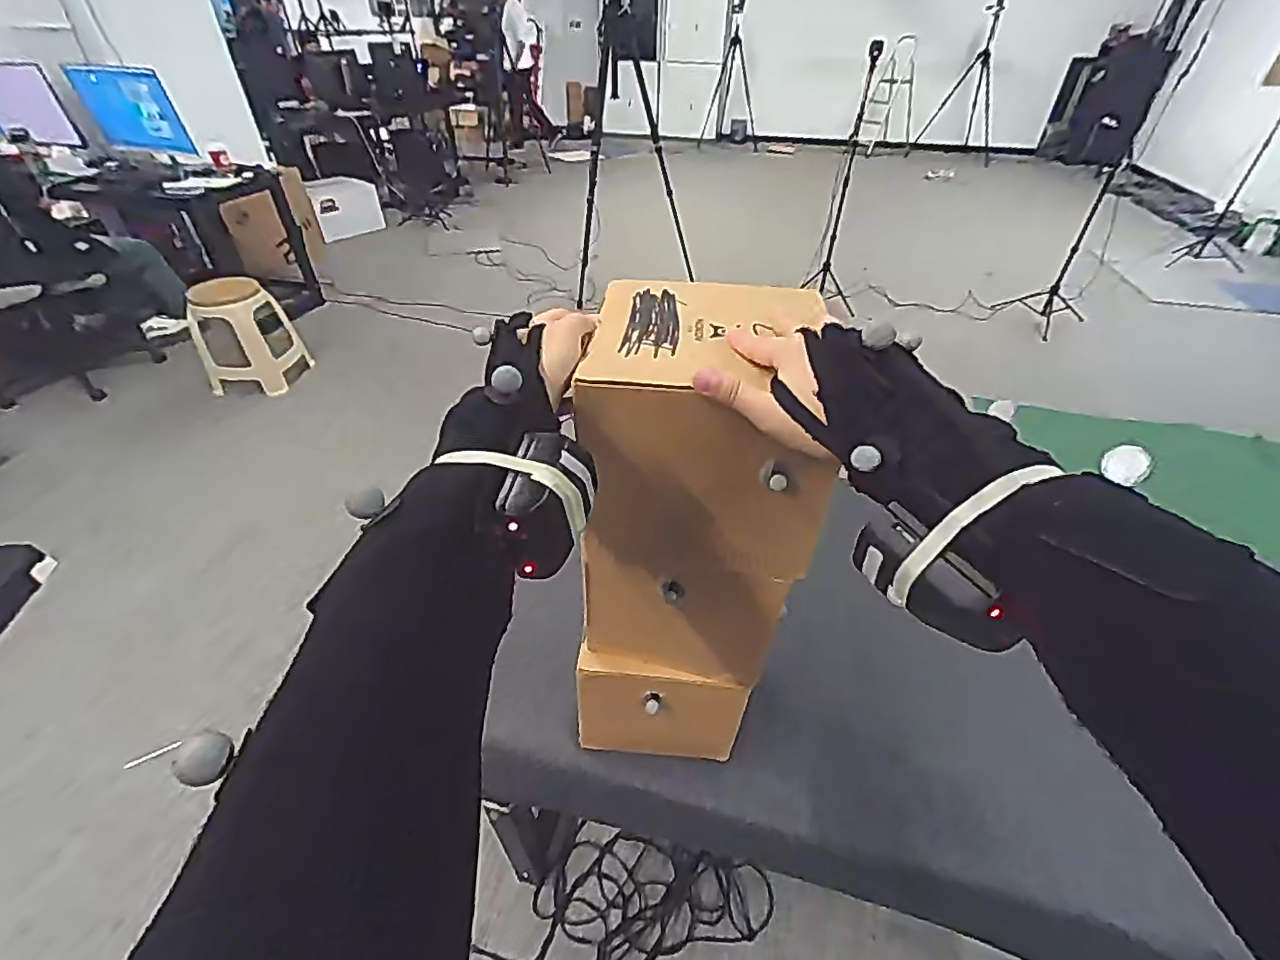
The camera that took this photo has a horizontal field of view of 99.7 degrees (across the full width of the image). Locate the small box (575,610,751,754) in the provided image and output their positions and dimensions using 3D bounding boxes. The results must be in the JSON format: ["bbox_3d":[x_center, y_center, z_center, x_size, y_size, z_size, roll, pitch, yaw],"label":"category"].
[{"bbox_3d":[0.026,0.203,0.639,0.179,0.176,0.168,4,40,3],"label":"small box"}]

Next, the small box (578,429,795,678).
[{"bbox_3d":[0.049,0.073,0.543,0.179,0.176,0.168,11,42,9],"label":"small box"}]
